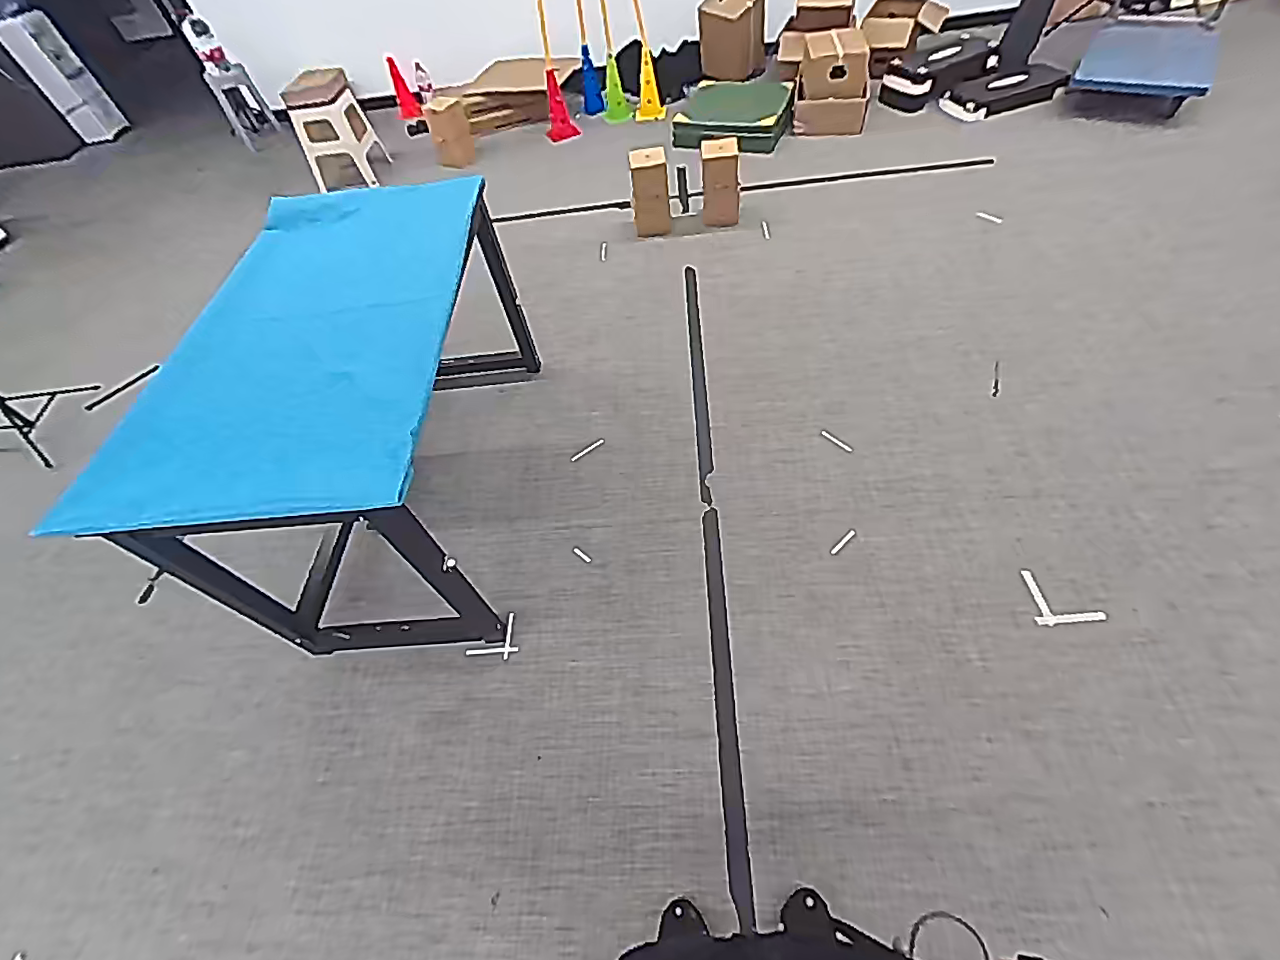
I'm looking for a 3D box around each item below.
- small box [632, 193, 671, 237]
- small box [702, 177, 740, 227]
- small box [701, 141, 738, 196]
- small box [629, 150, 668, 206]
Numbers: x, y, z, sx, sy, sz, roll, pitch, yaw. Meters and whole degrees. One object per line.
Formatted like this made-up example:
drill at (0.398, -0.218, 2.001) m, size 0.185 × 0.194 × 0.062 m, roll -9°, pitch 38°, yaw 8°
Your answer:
small box at (0.061, -1.343, 2.715) m, size 0.179 × 0.176 × 0.168 m, roll -6°, pitch 54°, yaw 3°
small box at (0.402, -1.387, 2.701) m, size 0.179 × 0.176 × 0.168 m, roll 0°, pitch 54°, yaw 6°
small box at (0.375, -1.478, 2.569) m, size 0.168 × 0.176 × 0.179 m, roll -2°, pitch 55°, yaw 8°
small box at (0.043, -1.444, 2.586) m, size 0.168 × 0.176 × 0.179 m, roll -8°, pitch 54°, yaw 3°
